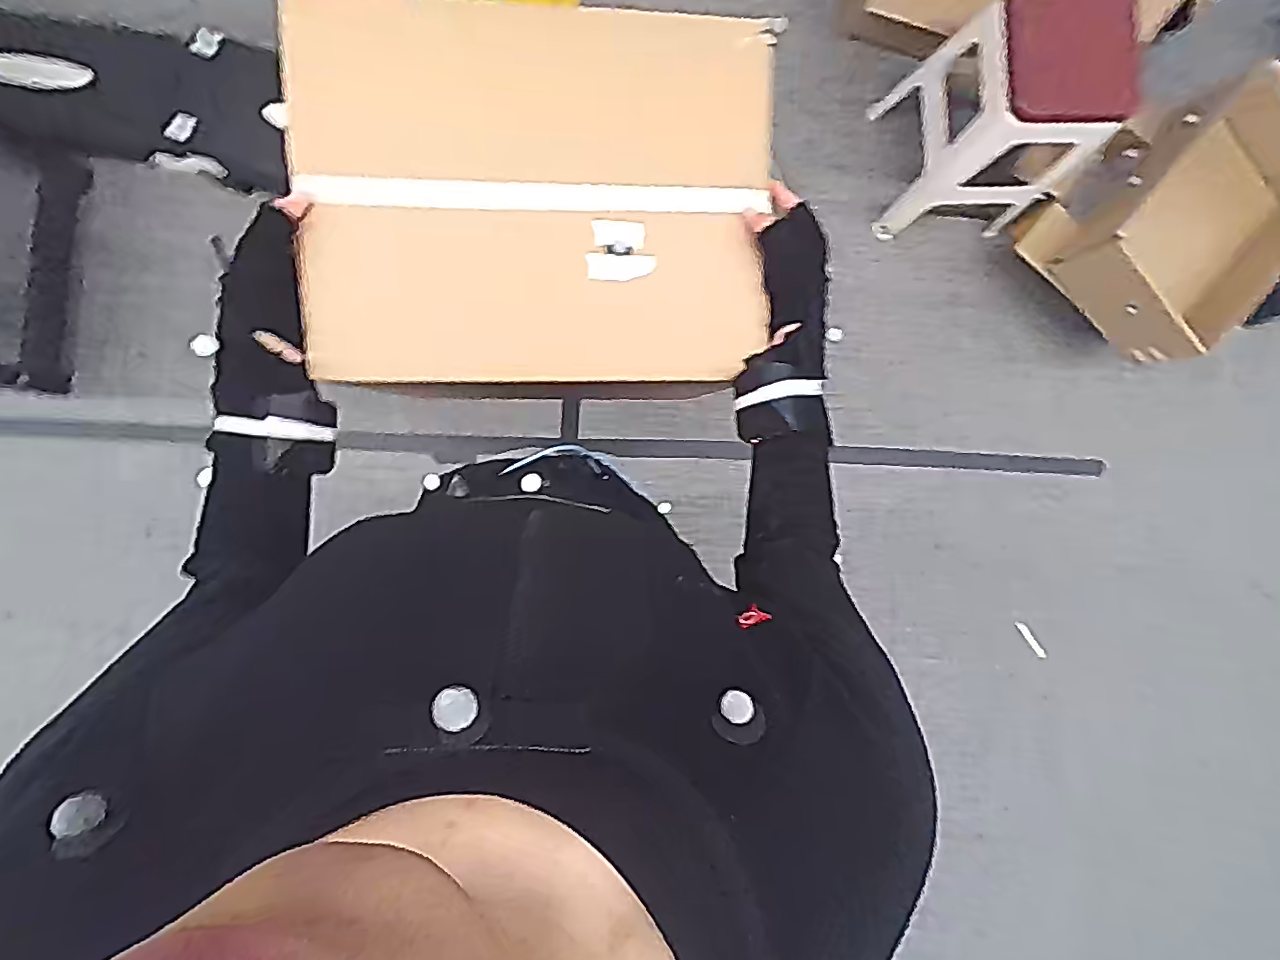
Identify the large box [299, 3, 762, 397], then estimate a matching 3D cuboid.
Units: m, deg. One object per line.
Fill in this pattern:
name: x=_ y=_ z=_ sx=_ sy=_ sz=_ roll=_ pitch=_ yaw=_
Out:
large box: x=-0.103 y=-0.264 z=0.630 sx=0.408 sy=0.320 sz=0.320 roll=-1 pitch=97 yaw=-7
